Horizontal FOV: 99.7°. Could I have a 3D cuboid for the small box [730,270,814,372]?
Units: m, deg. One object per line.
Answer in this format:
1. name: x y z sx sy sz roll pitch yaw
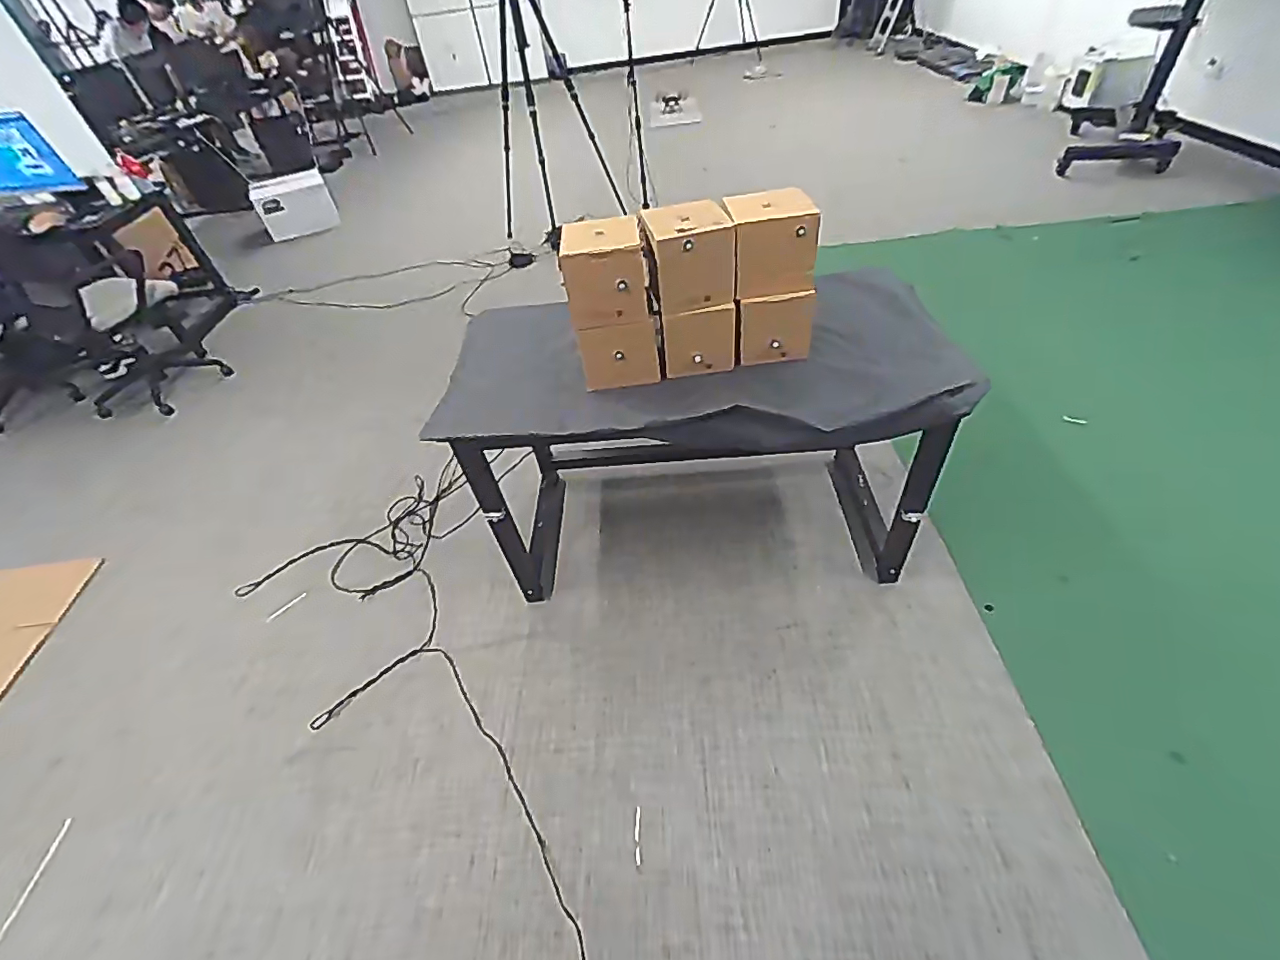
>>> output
1. small box: 0.310 -0.385 1.312 0.168 0.176 0.179 -7 44 3
